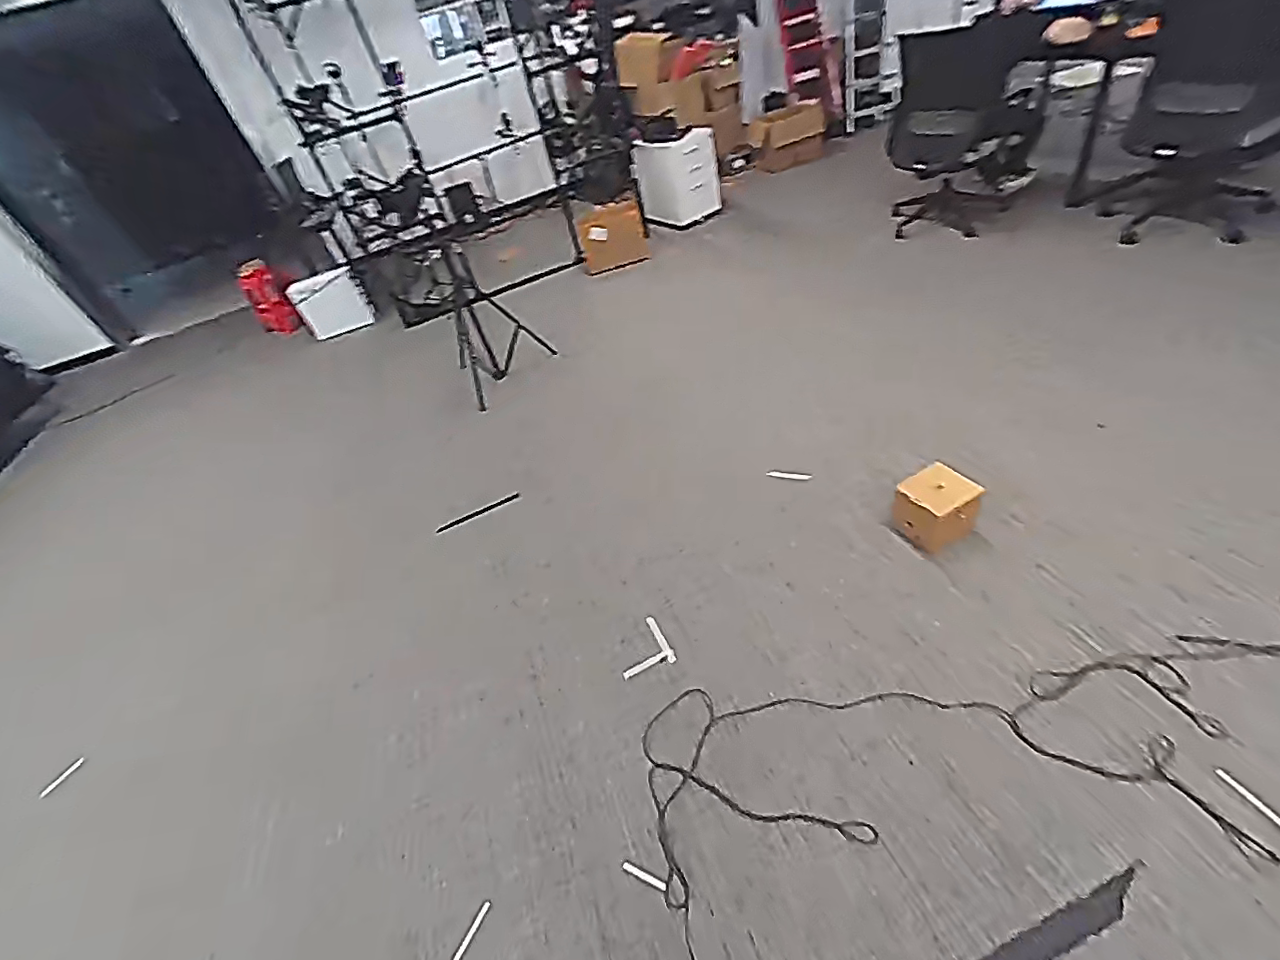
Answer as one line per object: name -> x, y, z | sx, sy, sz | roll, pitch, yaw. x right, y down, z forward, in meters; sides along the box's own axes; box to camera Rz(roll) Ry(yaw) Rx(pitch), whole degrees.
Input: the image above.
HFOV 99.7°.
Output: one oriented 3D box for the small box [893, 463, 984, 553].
small box -> 0.893, 0.086, 1.635 | 0.179, 0.176, 0.168 | -28, 41, -11
